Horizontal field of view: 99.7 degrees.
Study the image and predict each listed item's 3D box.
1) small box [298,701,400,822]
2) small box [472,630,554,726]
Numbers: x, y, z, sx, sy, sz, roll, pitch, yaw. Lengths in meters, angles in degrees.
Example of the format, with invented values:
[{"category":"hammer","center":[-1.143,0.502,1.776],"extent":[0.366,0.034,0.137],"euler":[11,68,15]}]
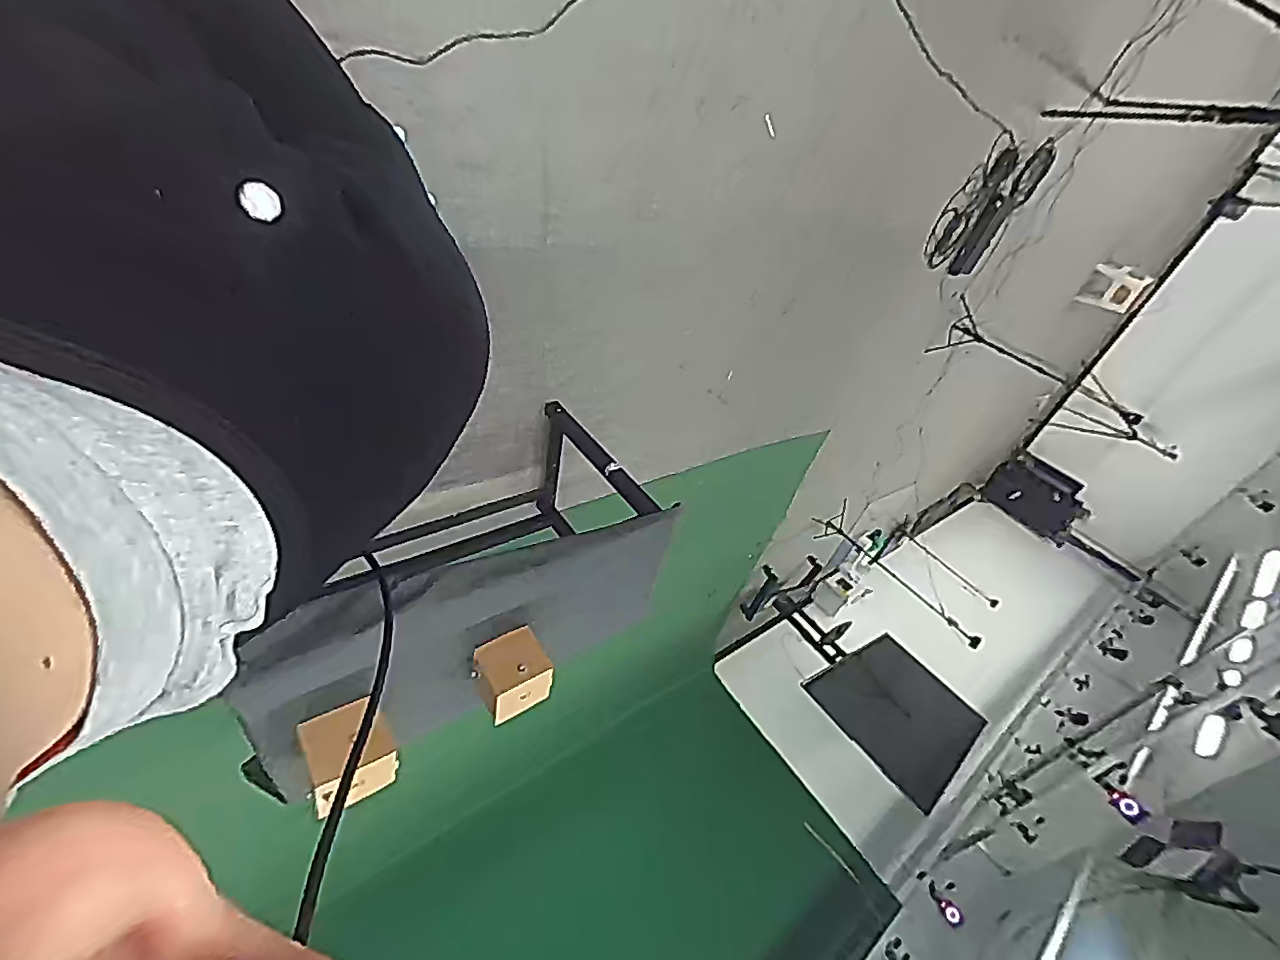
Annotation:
[{"category":"small box","center":[-0.710,0.678,1.323],"extent":[0.179,0.176,0.168],"euler":[-14,136,-39]},{"category":"small box","center":[-0.373,0.571,1.579],"extent":[0.179,0.176,0.168],"euler":[-18,138,-33]}]
